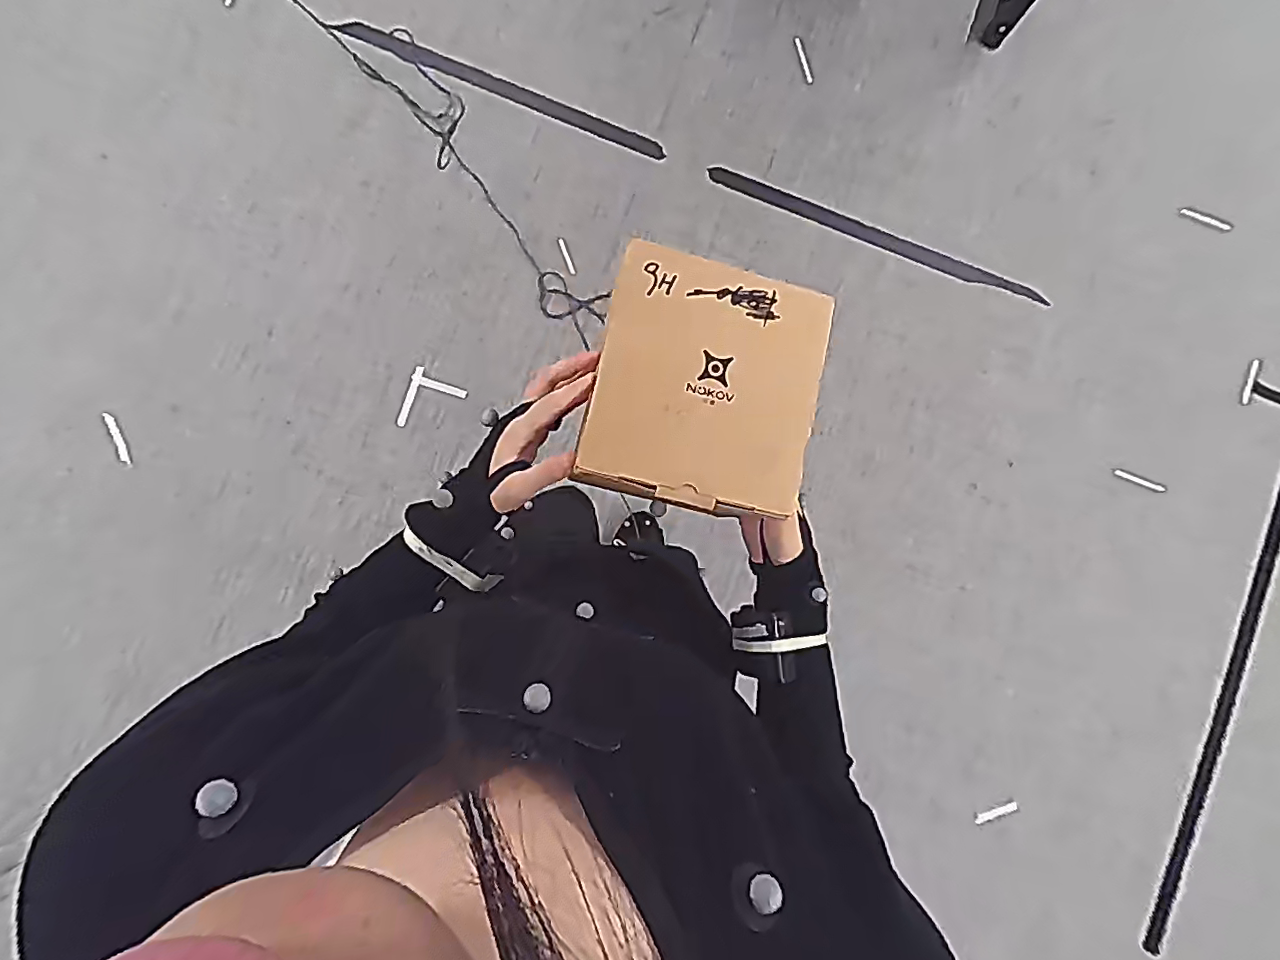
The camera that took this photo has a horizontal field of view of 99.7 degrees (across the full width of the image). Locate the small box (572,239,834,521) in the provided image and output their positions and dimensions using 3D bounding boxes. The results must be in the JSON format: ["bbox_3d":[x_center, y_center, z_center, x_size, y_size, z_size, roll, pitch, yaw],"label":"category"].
[{"bbox_3d":[0.039,-0.069,0.473,0.168,0.176,0.179,13,86,-9],"label":"small box"}]
